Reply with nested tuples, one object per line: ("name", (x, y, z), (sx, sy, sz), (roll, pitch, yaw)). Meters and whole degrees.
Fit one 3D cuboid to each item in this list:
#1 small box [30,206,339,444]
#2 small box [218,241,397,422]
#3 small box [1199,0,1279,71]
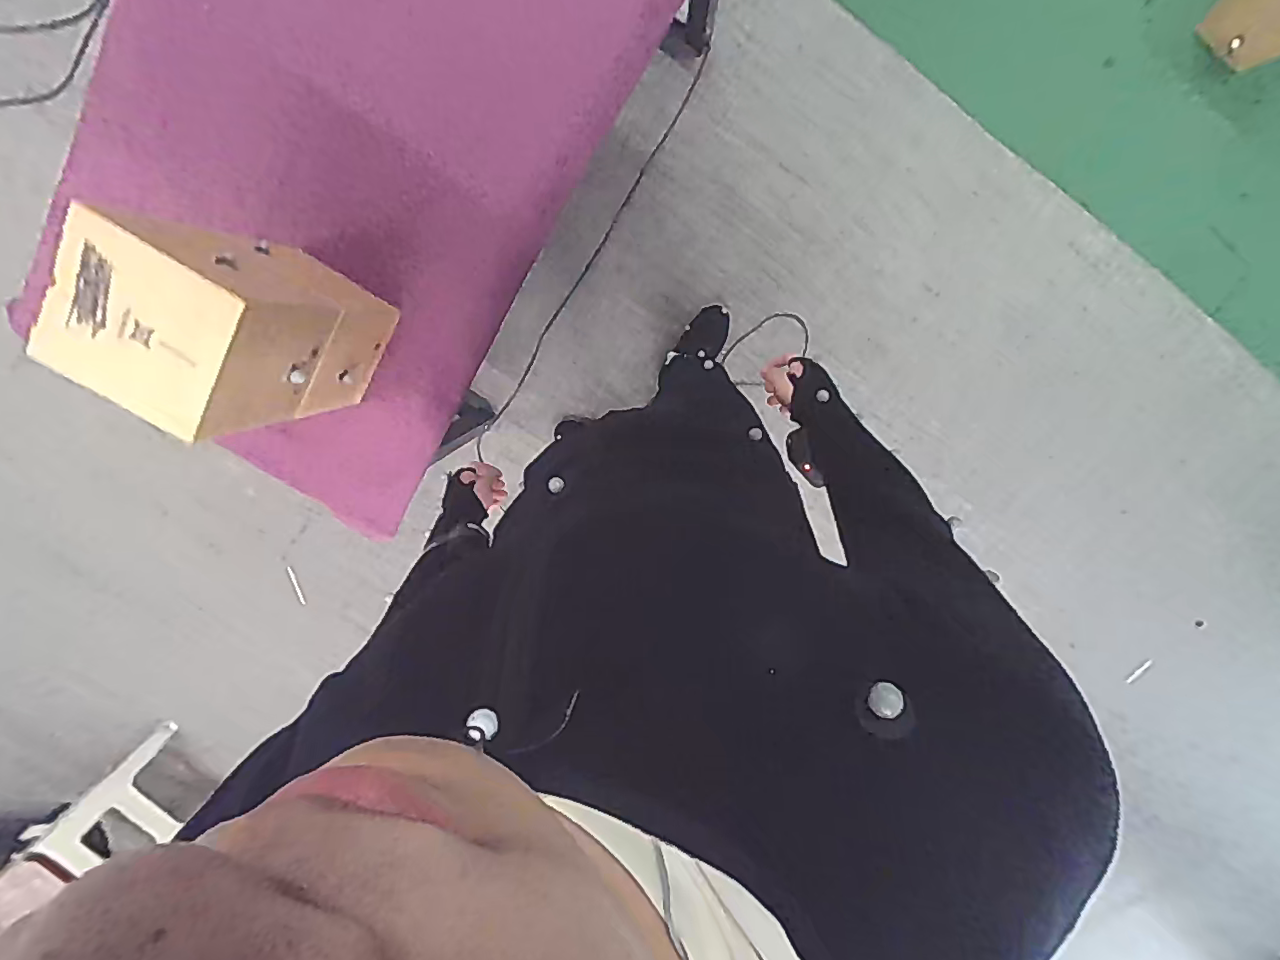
("small box", (-0.487, -0.165, 0.604), (0.179, 0.176, 0.168), (31, 104, -7))
("small box", (-0.480, -0.207, 0.762), (0.179, 0.176, 0.168), (31, 104, -6))
("small box", (1.447, -1.086, 1.215), (0.168, 0.176, 0.179), (35, 104, -8))
